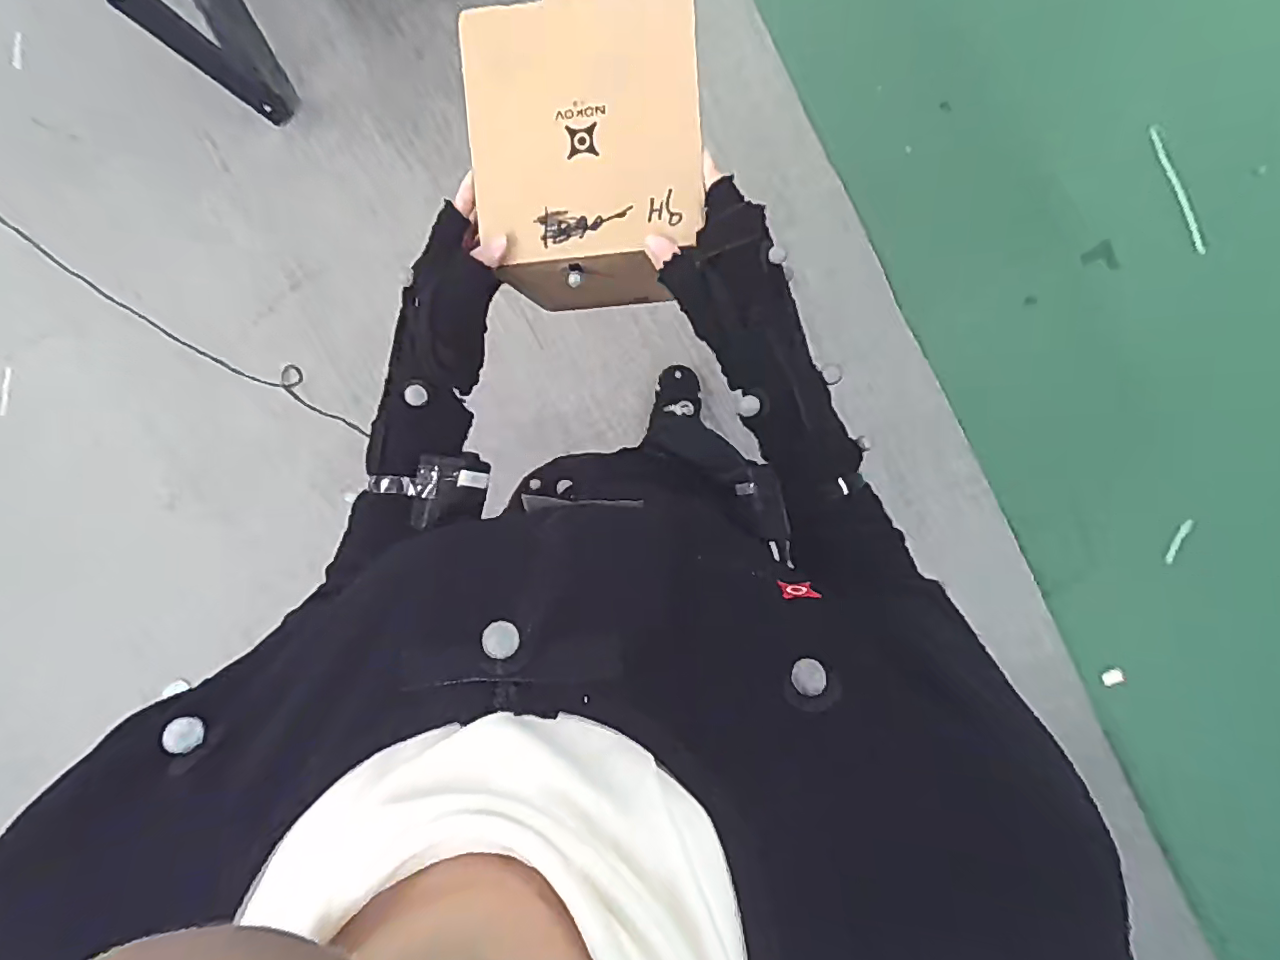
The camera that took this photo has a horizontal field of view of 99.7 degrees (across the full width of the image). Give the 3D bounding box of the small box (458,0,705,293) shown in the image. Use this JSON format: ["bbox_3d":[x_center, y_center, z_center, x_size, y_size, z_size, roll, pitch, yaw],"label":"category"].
[{"bbox_3d":[-0.033,-0.272,0.453,0.168,0.176,0.179,-3,96,7],"label":"small box"}]
